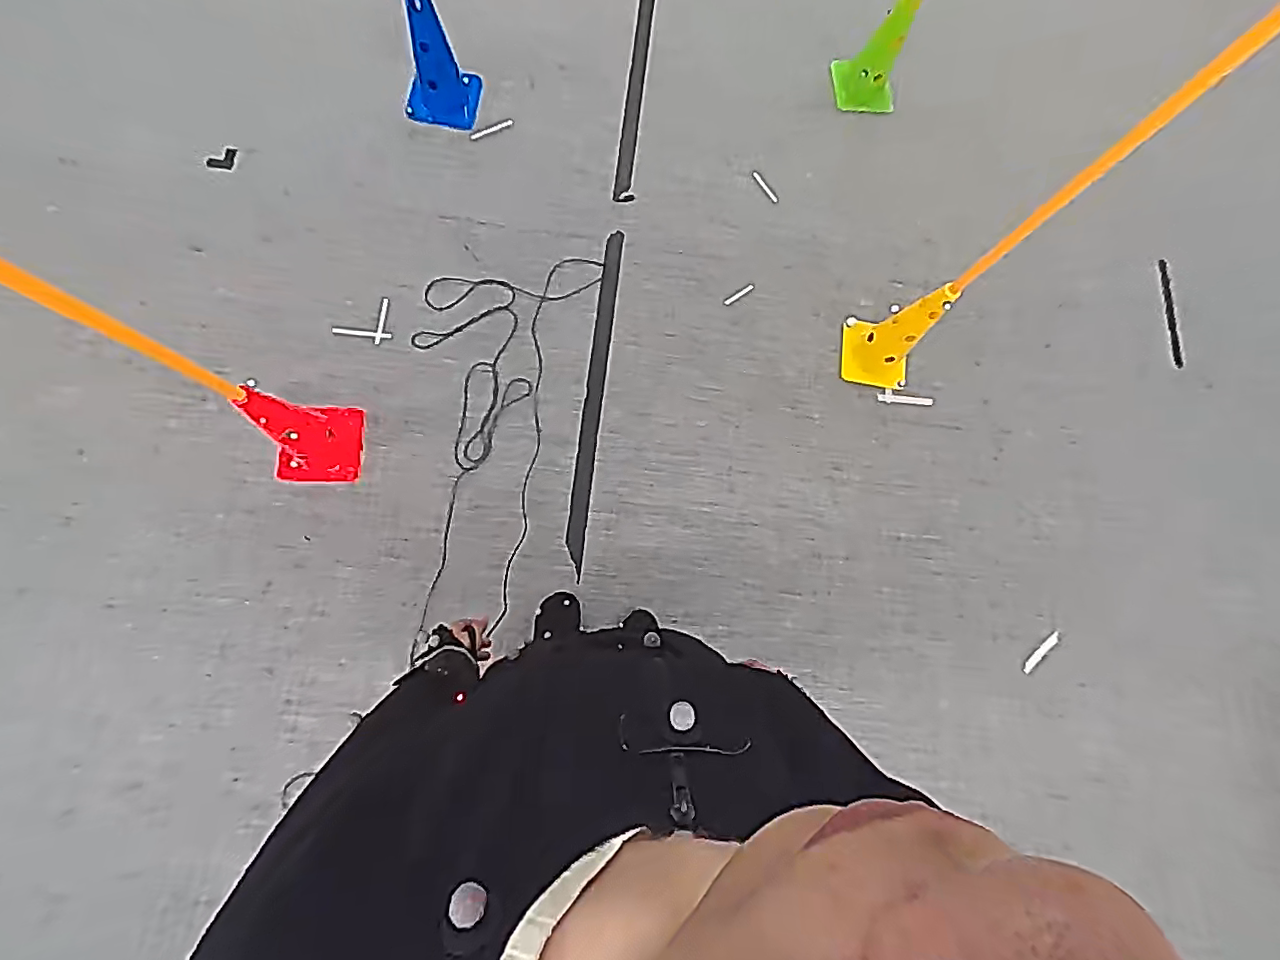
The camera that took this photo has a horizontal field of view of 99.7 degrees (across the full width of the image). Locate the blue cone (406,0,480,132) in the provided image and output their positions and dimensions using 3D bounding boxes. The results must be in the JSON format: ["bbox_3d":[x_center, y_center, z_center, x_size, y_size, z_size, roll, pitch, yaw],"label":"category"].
[{"bbox_3d":[-0.572,-1.184,1.479,0.193,0.380,0.192,9,78,-4],"label":"blue cone"}]

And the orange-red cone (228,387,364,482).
[{"bbox_3d":[-0.793,-0.129,1.211,0.199,0.360,0.198,2,78,-7],"label":"orange-red cone"}]

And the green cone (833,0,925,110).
[{"bbox_3d":[0.769,-1.365,1.653,0.200,0.368,0.202,-4,80,-7],"label":"green cone"}]
